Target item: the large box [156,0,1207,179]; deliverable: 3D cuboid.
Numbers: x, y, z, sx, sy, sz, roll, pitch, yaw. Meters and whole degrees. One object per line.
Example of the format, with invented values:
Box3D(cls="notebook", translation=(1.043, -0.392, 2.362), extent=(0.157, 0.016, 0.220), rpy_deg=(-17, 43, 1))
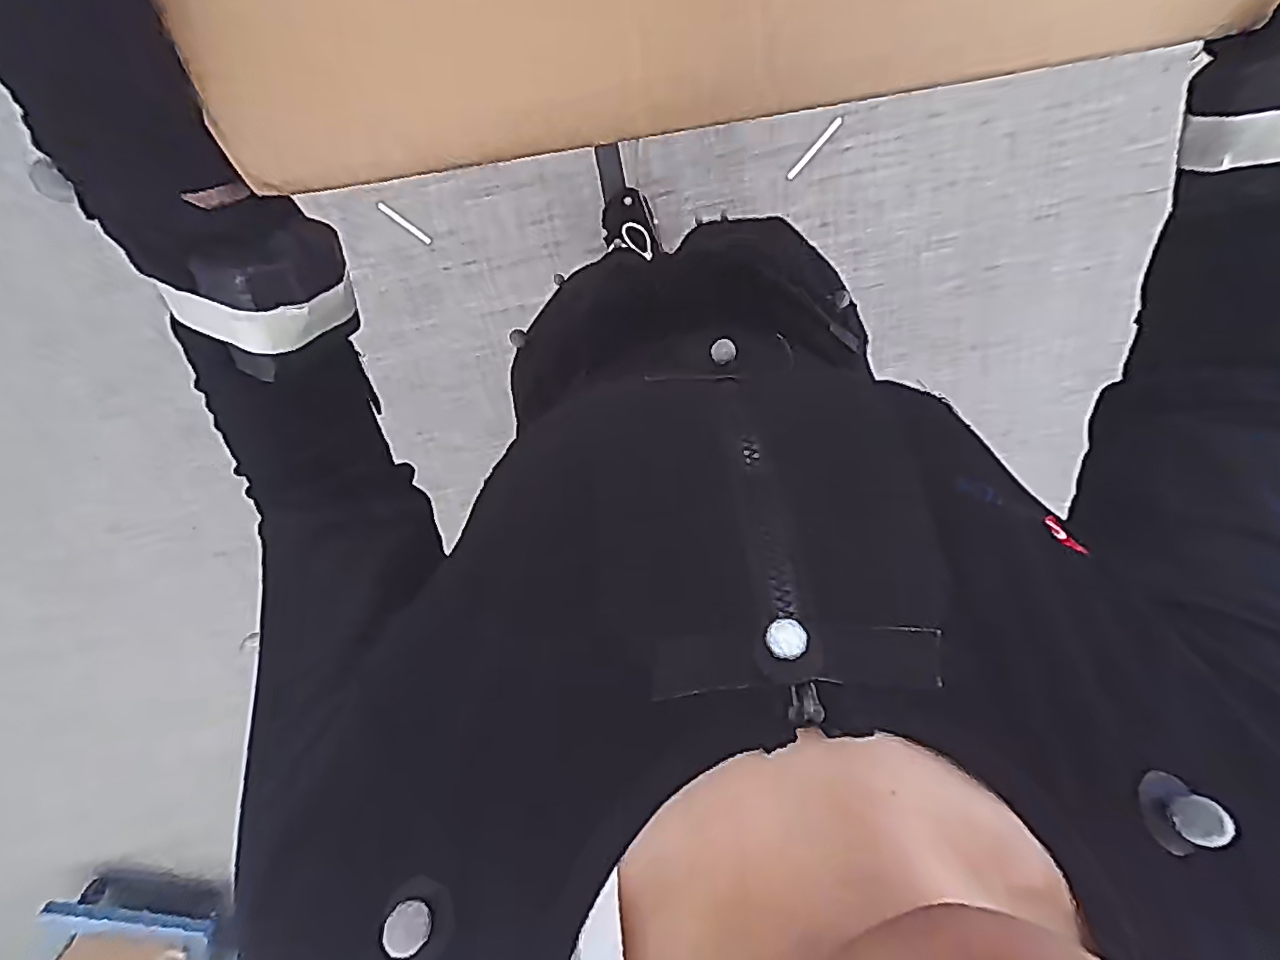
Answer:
Box3D(cls="large box", translation=(0.005, -0.368, 0.202), extent=(0.408, 0.320, 0.320), rpy_deg=(-8, 139, 2))
